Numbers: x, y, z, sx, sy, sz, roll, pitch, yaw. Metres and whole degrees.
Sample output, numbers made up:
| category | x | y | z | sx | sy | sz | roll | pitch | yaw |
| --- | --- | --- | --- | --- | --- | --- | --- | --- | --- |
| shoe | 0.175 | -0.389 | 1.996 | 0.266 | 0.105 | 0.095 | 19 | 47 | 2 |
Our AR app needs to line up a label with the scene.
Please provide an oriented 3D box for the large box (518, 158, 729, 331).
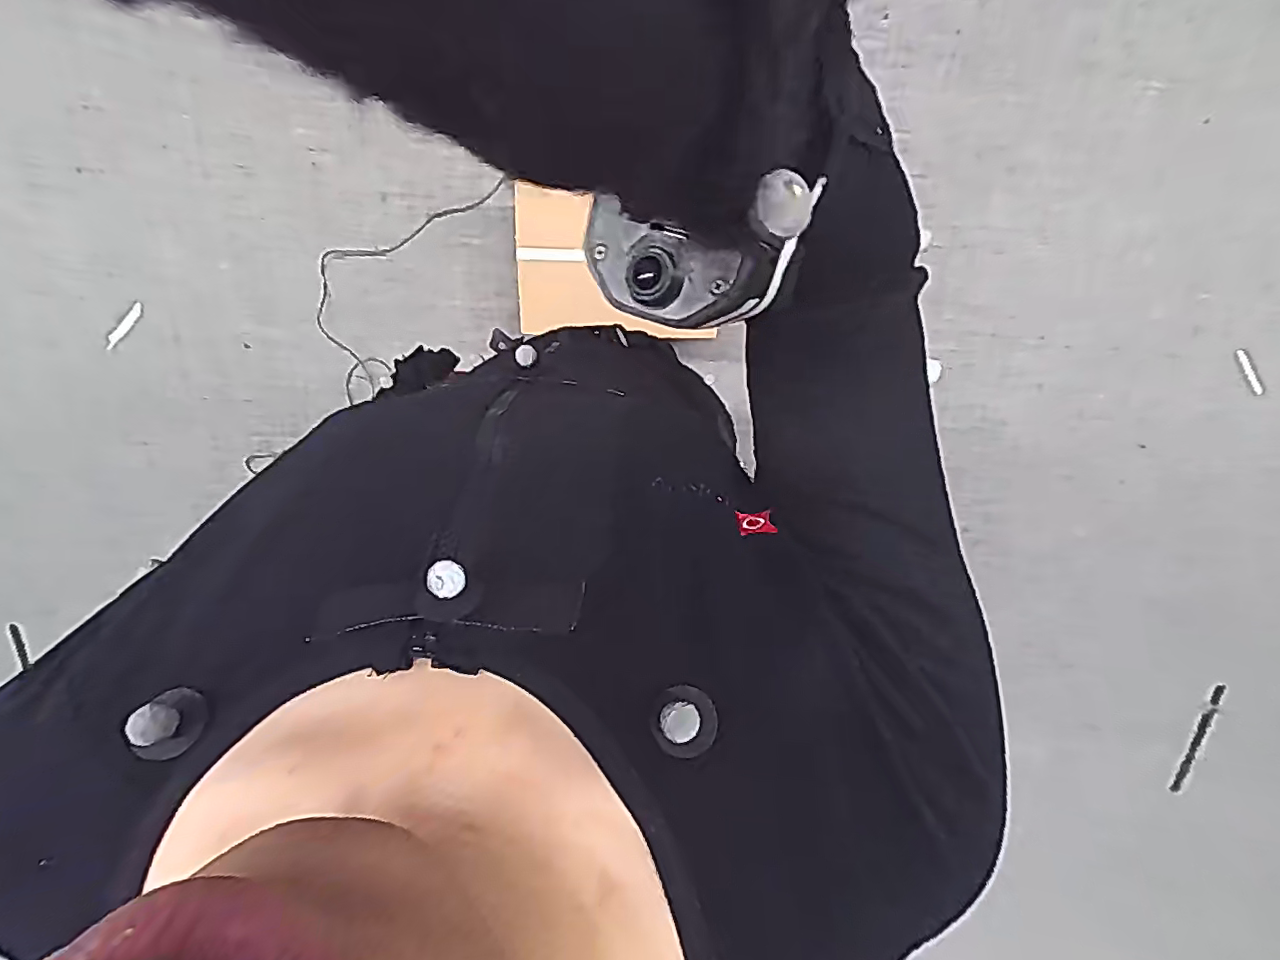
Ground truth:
| category | x | y | z | sx | sy | sz | roll | pitch | yaw |
| --- | --- | --- | --- | --- | --- | --- | --- | --- | --- |
| large box | -0.033 | -0.493 | 1.196 | 0.408 | 0.320 | 0.320 | 1 | 106 | 0 |
